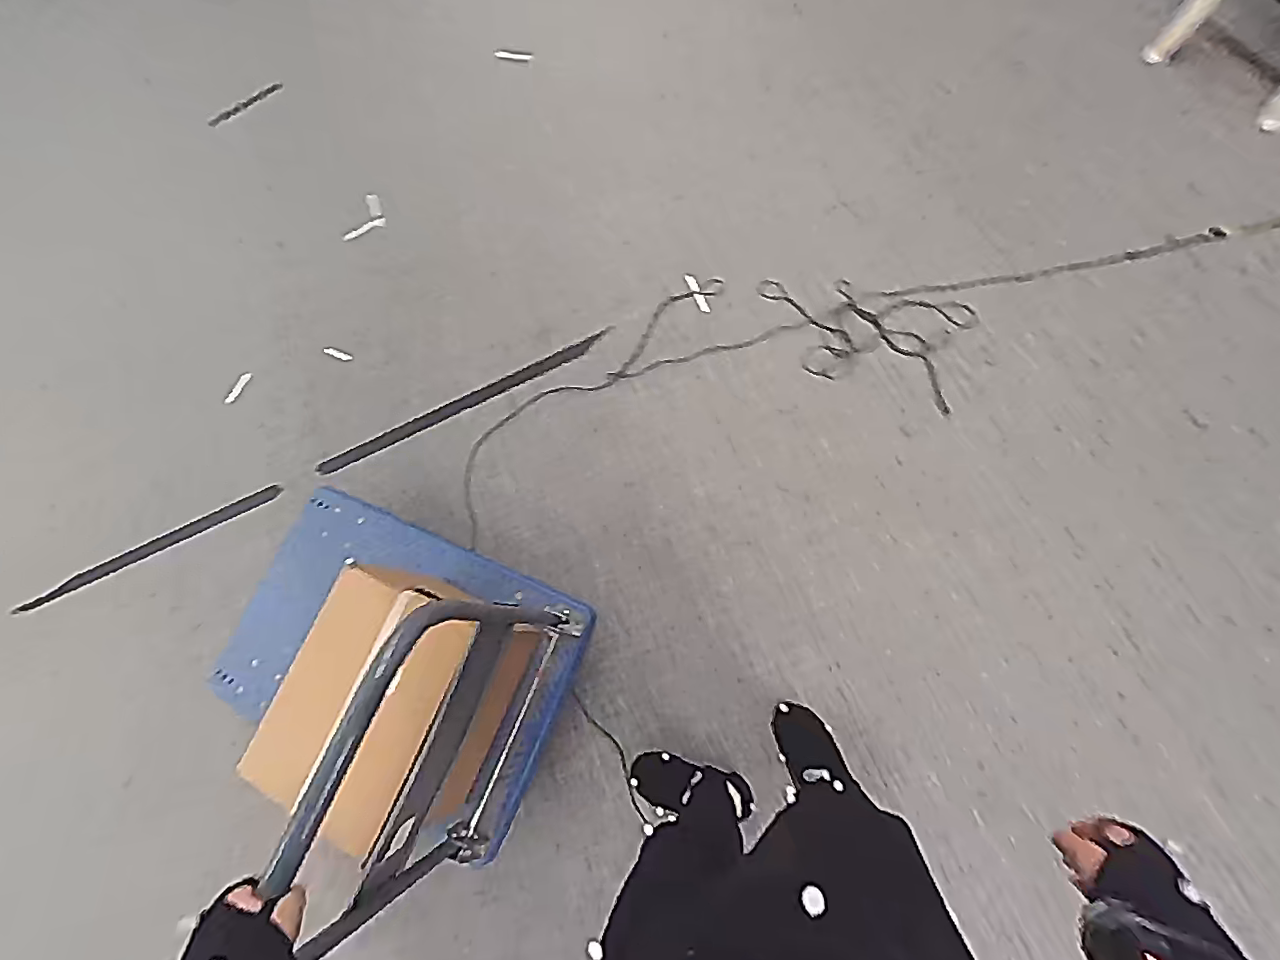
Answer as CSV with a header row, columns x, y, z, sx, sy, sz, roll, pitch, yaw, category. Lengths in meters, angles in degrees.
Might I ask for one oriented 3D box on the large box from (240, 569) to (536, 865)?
x,y,z,sx,sy,sz,roll,pitch,yaw,category
-0.470,0.441,1.088,0.320,0.320,0.408,20,78,16,large box
